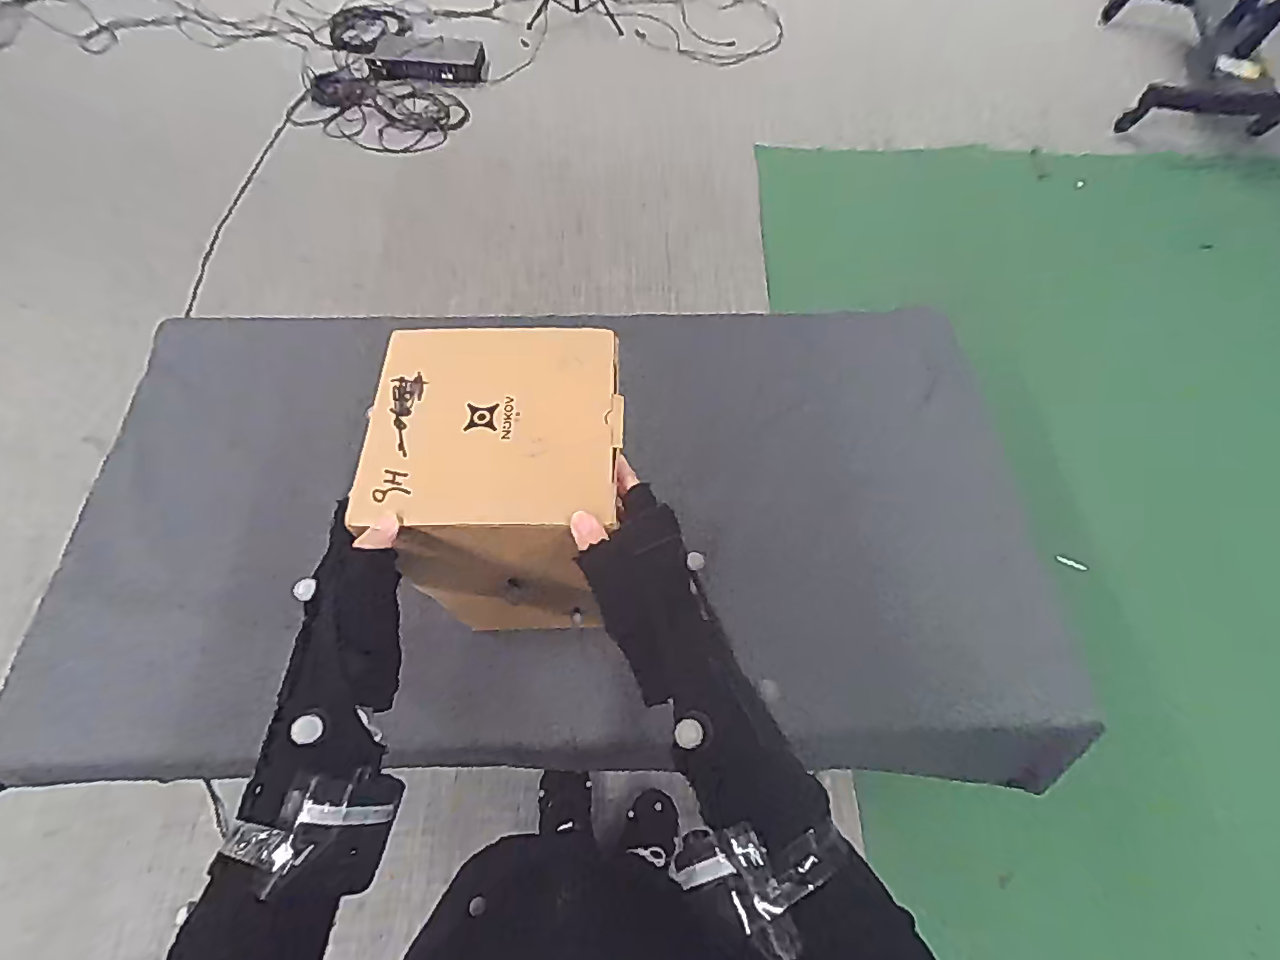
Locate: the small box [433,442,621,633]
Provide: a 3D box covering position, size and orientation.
[{"bbox_3d":[-0.110,0.071,0.610,0.179,0.176,0.168,-3,62,-2],"label":"small box"}]
